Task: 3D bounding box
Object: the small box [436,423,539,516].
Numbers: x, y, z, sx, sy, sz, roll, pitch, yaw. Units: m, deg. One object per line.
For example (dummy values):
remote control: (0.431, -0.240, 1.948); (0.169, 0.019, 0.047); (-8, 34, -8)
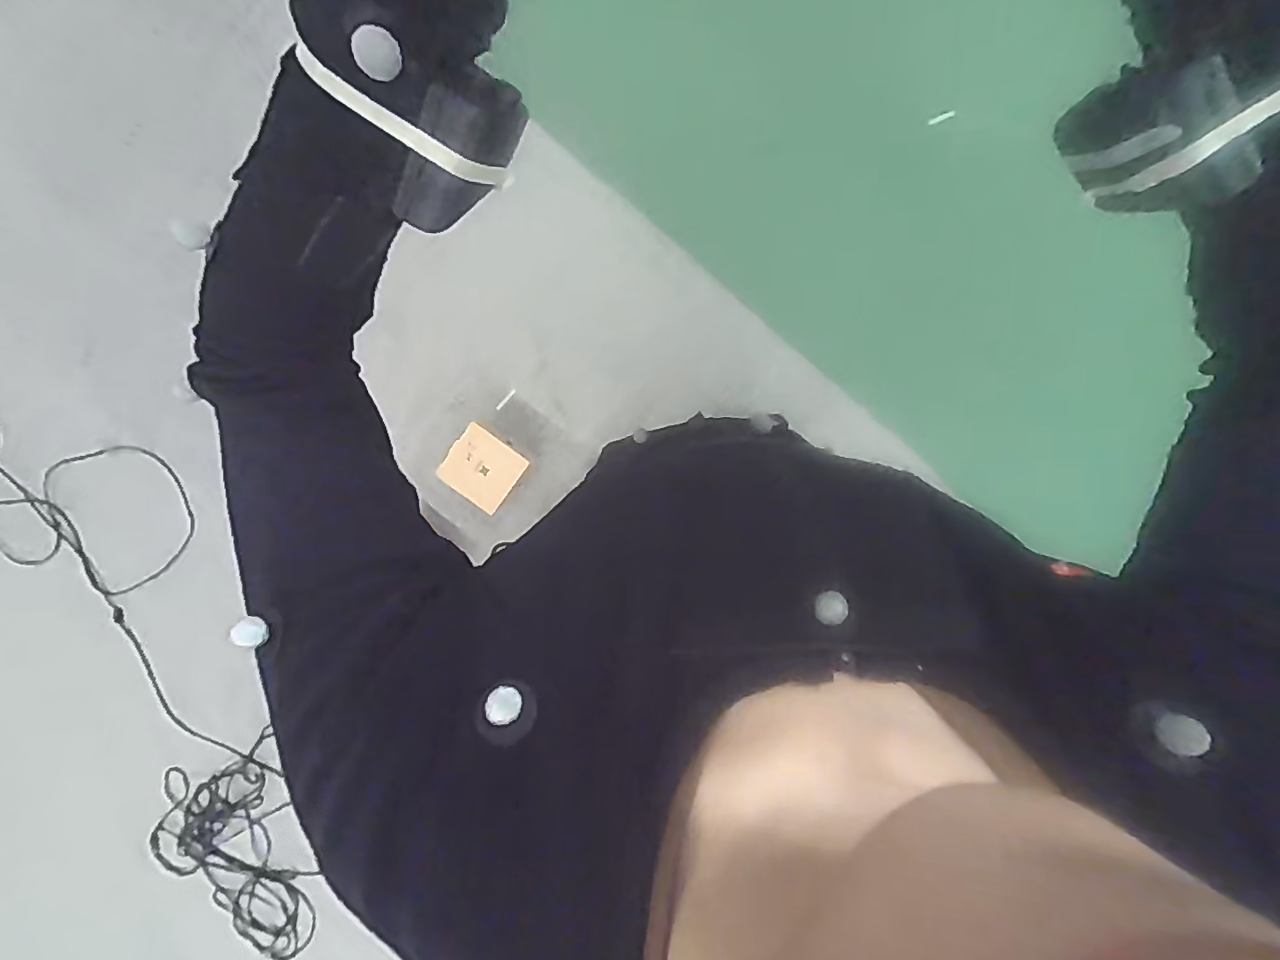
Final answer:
small box: (-0.381, -0.033, 1.389); (0.179, 0.176, 0.168); (36, 92, -3)
